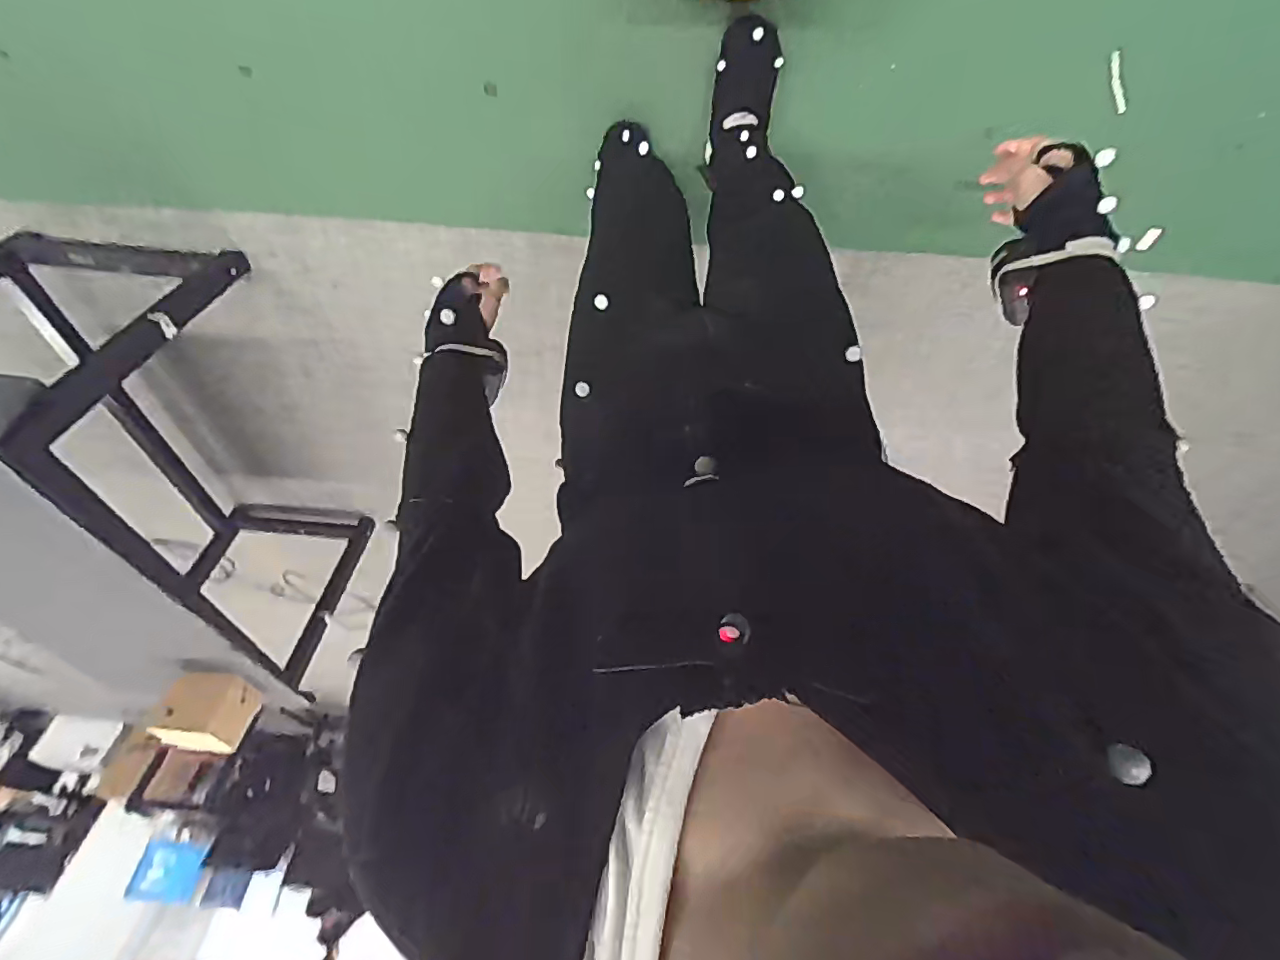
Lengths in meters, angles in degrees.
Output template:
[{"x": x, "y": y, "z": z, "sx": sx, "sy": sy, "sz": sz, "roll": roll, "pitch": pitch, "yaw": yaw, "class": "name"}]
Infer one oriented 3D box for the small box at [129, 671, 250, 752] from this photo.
[{"x": -1.291, "y": 0.667, "z": 1.564, "sx": 0.179, "sy": 0.176, "sz": 0.168, "roll": 4, "pitch": 138, "yaw": 1, "class": "small box"}]
